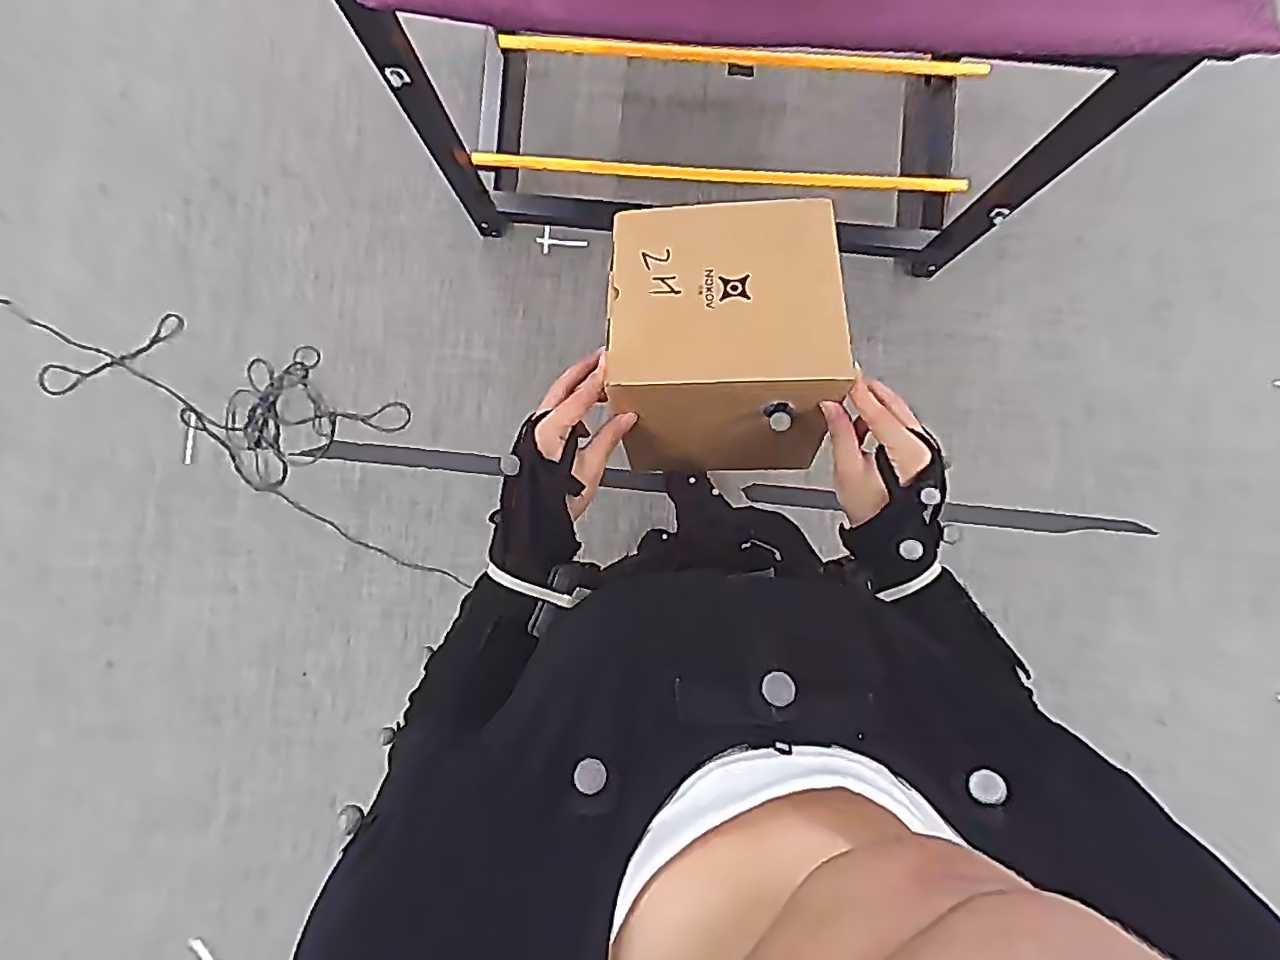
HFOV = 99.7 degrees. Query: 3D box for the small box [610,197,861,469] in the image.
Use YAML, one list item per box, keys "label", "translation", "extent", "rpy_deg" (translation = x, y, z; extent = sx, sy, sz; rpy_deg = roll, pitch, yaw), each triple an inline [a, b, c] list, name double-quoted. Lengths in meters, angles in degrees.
- label: "small box"
  translation: [0.076, -0.116, 0.477]
  extent: [0.179, 0.176, 0.168]
  rpy_deg: [0, 69, 7]
